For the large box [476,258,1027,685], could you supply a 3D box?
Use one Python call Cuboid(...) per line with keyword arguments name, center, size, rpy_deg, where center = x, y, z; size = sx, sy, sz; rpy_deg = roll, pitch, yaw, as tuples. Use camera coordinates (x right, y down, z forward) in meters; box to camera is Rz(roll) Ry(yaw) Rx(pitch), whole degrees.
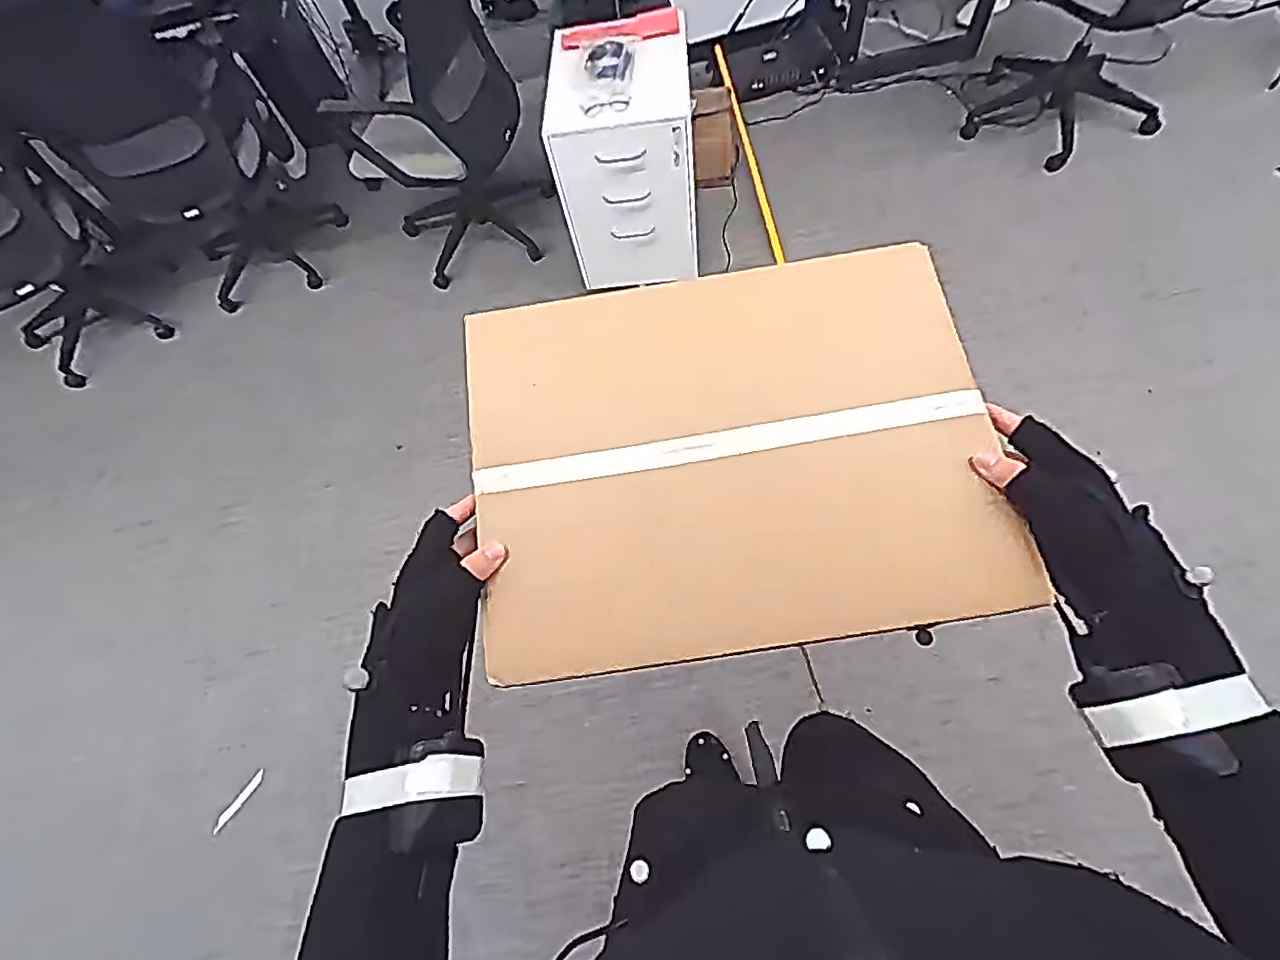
Cuboid(name="large box", center=(0.079, 0.018, 0.582), size=(0.408, 0.320, 0.320), rpy_deg=(-9, 72, 1))
